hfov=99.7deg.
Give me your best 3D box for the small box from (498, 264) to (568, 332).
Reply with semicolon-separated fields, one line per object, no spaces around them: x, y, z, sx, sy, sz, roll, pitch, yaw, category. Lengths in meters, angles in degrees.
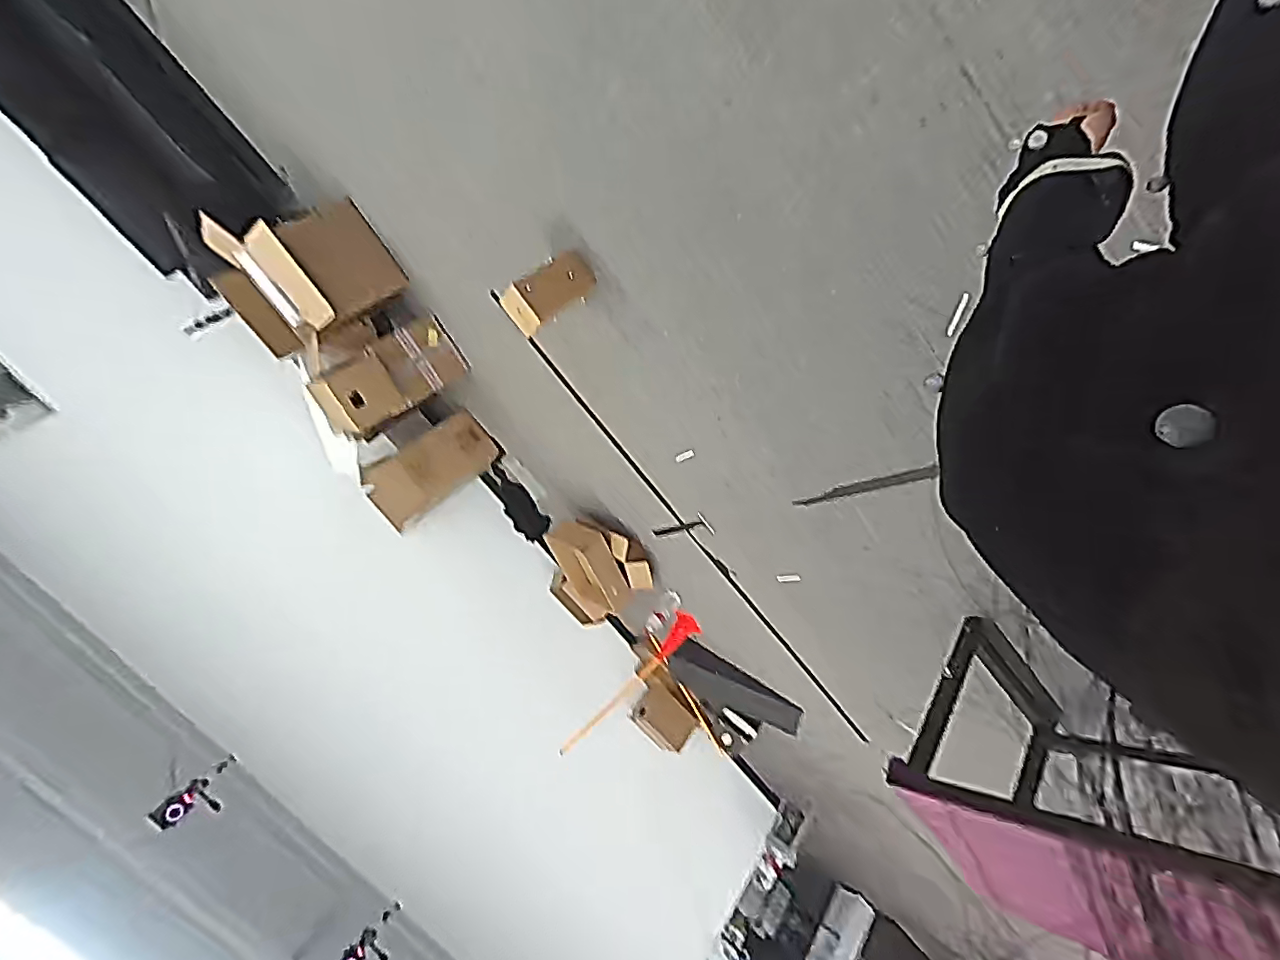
-0.418;-0.721;2.120;0.179;0.176;0.168;52;151;-14;small box
